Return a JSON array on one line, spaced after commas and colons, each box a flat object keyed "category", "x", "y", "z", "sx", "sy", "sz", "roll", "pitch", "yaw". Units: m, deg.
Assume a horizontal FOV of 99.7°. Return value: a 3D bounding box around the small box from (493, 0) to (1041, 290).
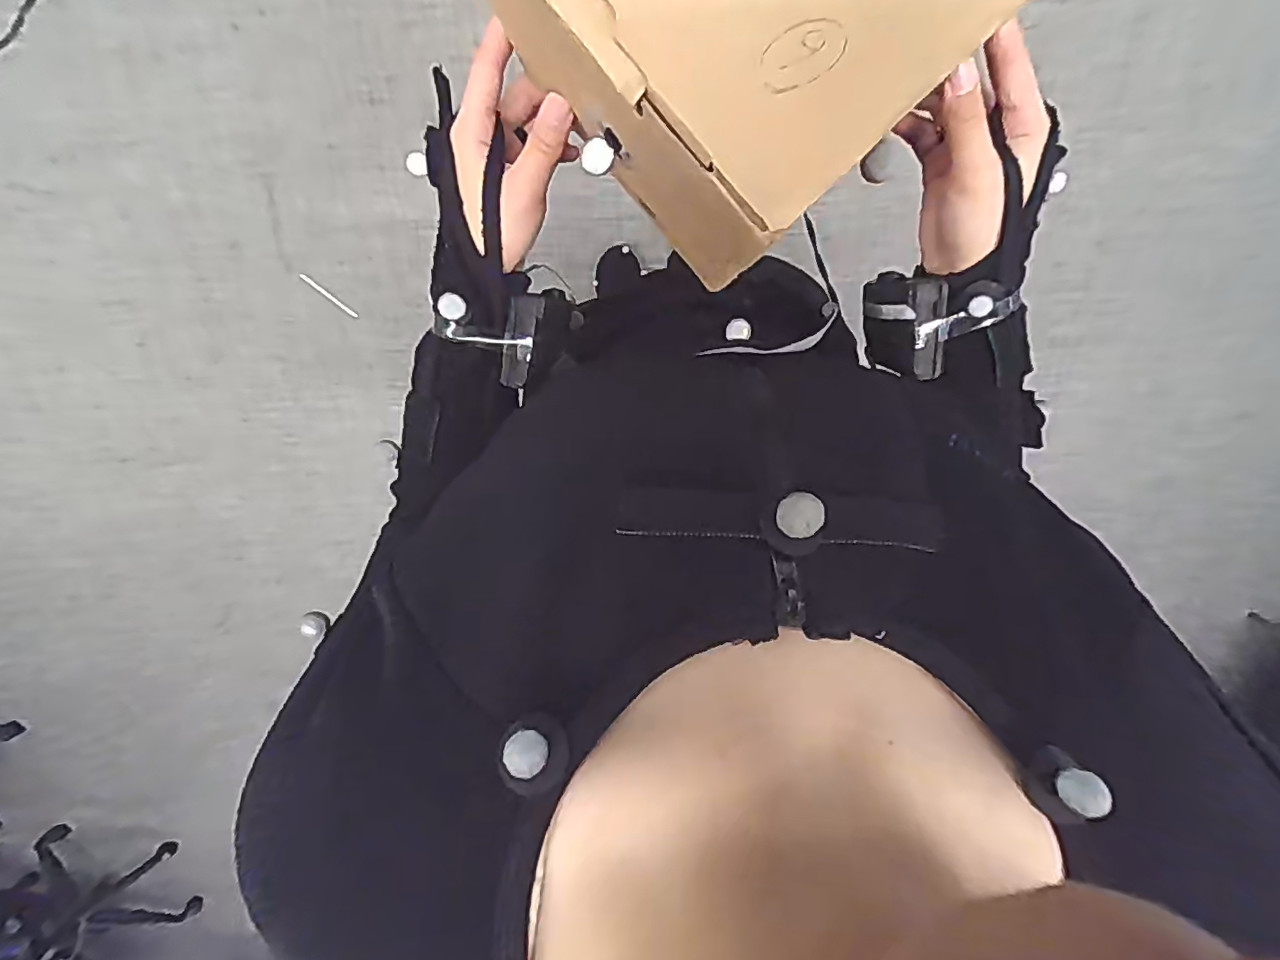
[{"category": "small box", "x": 0.050, "y": -0.203, "z": 0.225, "sx": 0.179, "sy": 0.176, "sz": 0.168, "roll": -42, "pitch": 99, "yaw": 11}]
